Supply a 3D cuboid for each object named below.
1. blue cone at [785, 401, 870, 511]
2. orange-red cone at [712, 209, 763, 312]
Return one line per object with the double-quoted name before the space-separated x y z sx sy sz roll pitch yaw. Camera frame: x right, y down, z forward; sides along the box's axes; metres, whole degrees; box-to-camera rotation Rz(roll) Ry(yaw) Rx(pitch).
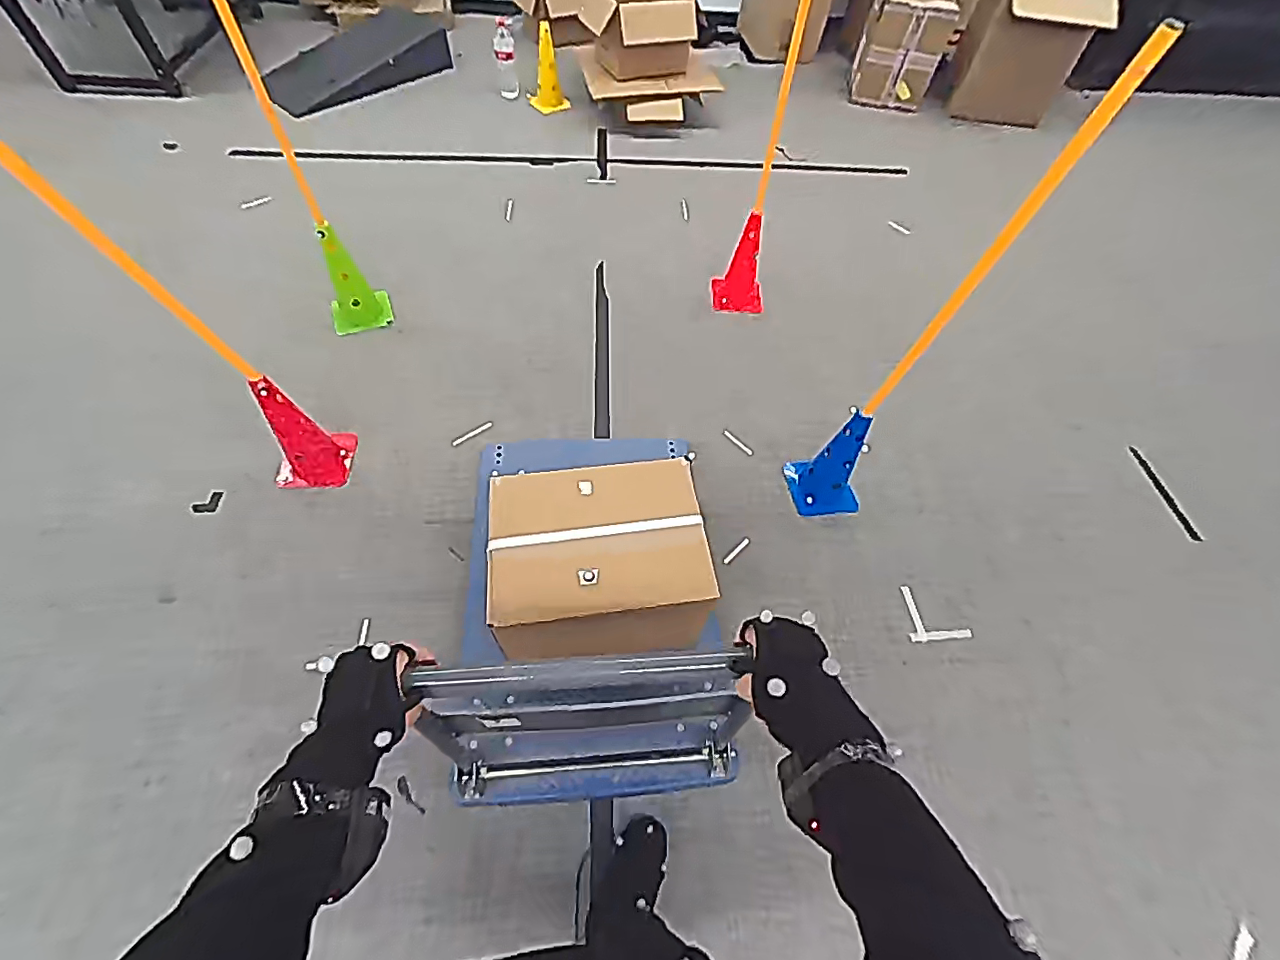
"blue cone" 0.576 -0.080 1.561 0.193 0.380 0.192 -4 56 -7
"orange-red cone" 0.403 -0.841 2.031 0.199 0.360 0.198 5 57 -2
